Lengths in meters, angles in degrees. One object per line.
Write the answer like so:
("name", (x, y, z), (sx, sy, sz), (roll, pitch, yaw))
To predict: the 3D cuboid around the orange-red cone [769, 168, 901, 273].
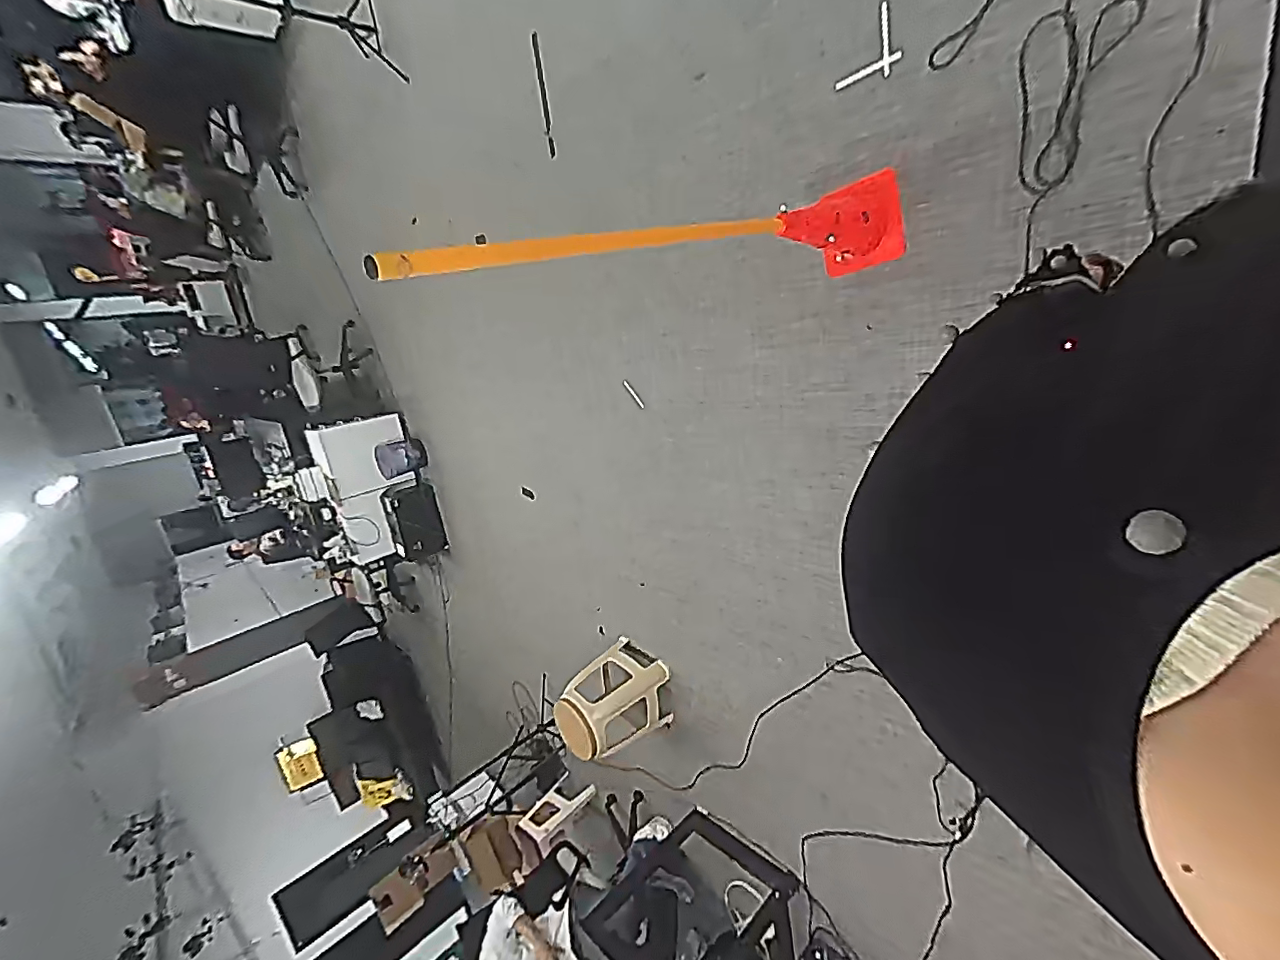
("orange-red cone", (0.403, -0.571, 1.200), (0.199, 0.360, 0.198), (0, 108, 48))
